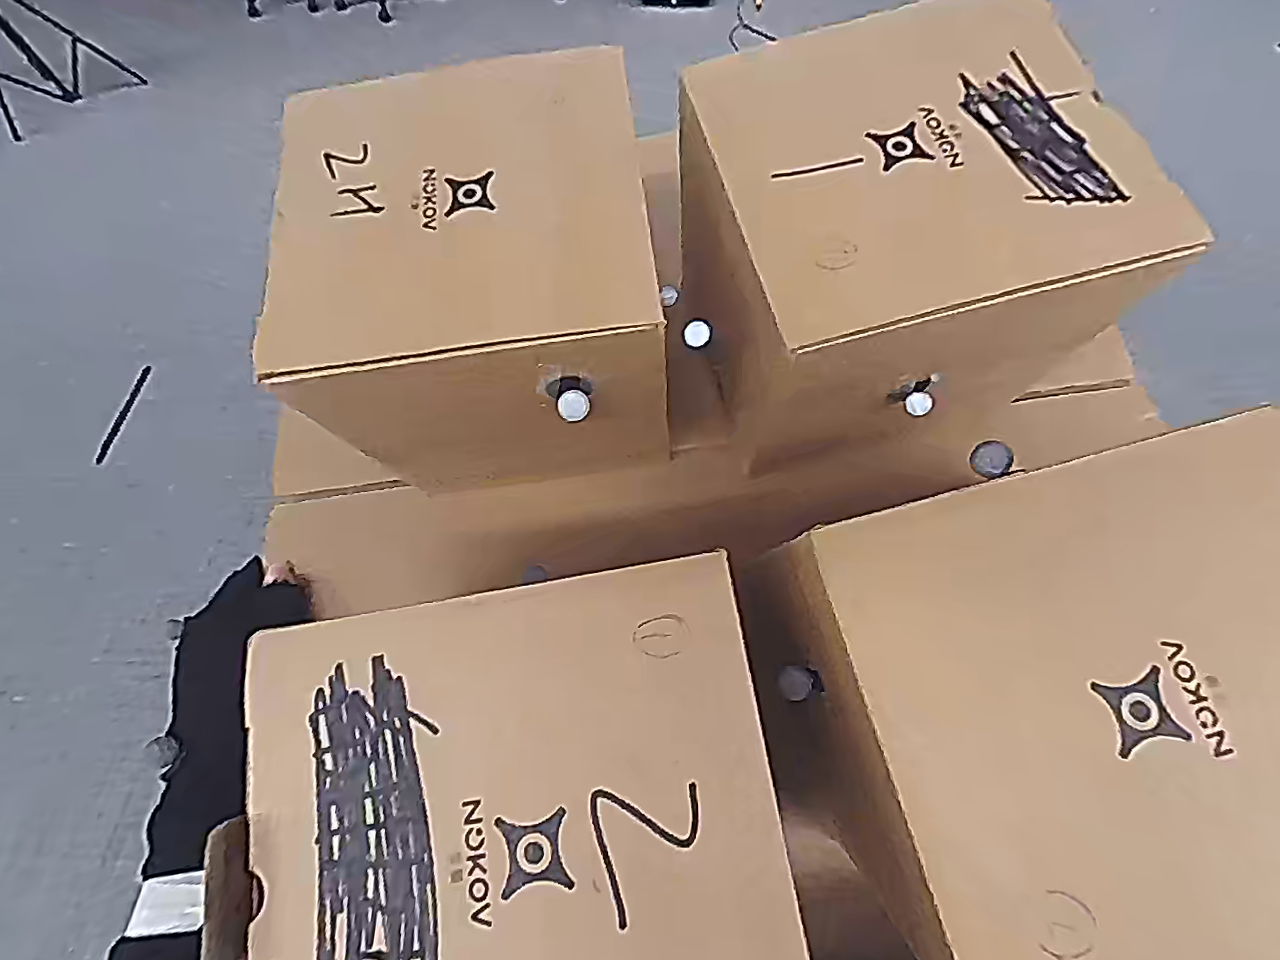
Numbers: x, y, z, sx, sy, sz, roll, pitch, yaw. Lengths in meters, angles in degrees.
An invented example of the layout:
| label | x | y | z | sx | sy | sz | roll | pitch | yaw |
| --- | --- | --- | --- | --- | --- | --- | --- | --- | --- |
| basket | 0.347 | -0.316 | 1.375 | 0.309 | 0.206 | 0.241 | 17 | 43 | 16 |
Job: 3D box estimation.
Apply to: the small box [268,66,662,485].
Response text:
| label | x | y | z | sx | sy | sz | roll | pitch | yaw |
| --- | --- | --- | --- | --- | --- | --- | --- | --- | --- |
| small box | -0.079 | -0.104 | 0.335 | 0.179 | 0.176 | 0.168 | -7 | 71 | 3 |
